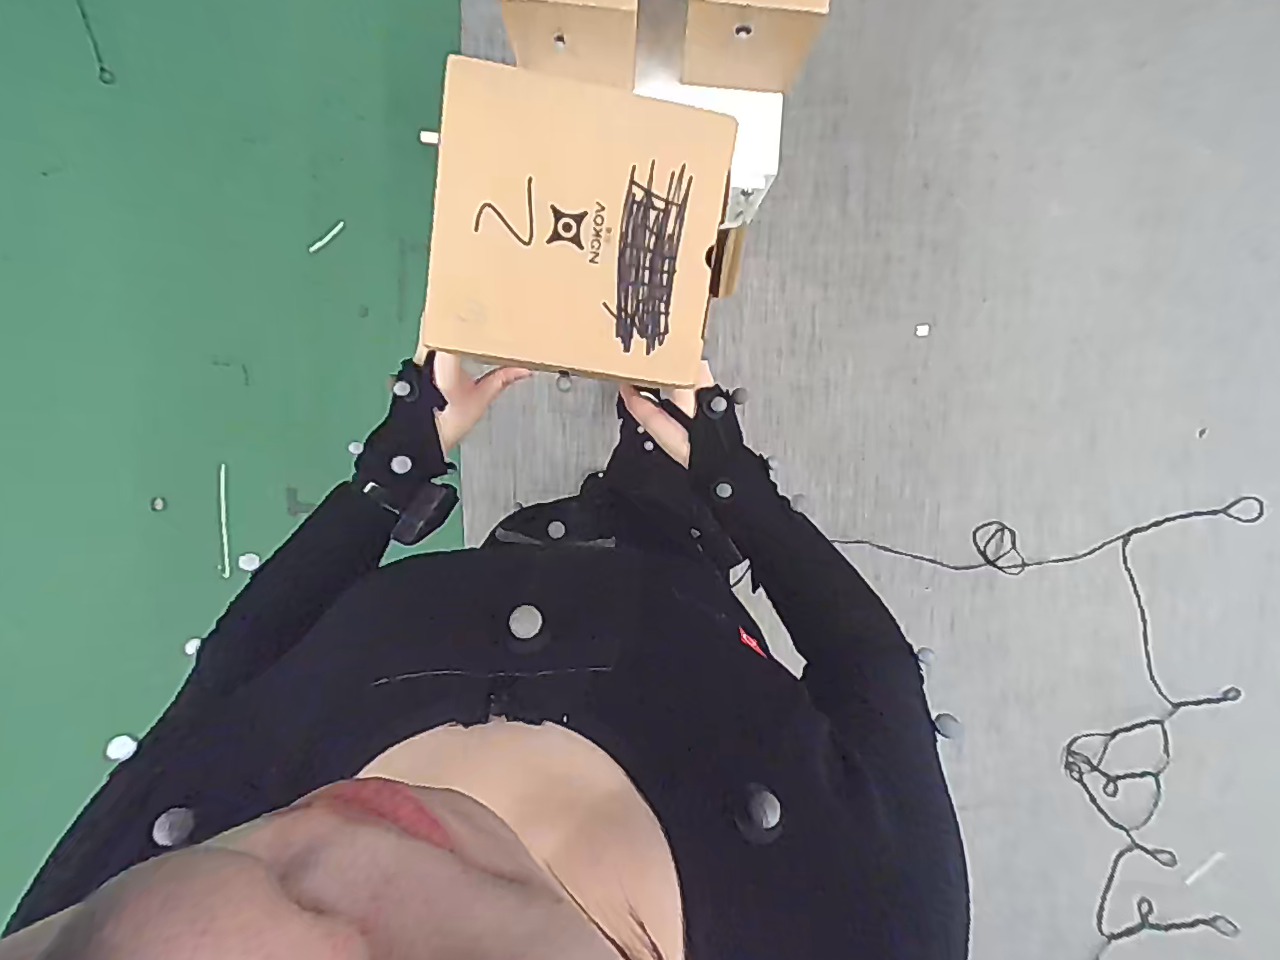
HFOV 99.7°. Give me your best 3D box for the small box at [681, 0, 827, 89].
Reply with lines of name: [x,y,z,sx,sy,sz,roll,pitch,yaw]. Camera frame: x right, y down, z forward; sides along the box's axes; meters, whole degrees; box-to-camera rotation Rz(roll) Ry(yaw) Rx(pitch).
small box: [0.154,-0.682,0.750,0.179,0.176,0.168,5,96,-2]

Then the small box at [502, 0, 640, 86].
small box: [-0.089,-0.682,0.745,0.179,0.176,0.168,3,96,-2]
